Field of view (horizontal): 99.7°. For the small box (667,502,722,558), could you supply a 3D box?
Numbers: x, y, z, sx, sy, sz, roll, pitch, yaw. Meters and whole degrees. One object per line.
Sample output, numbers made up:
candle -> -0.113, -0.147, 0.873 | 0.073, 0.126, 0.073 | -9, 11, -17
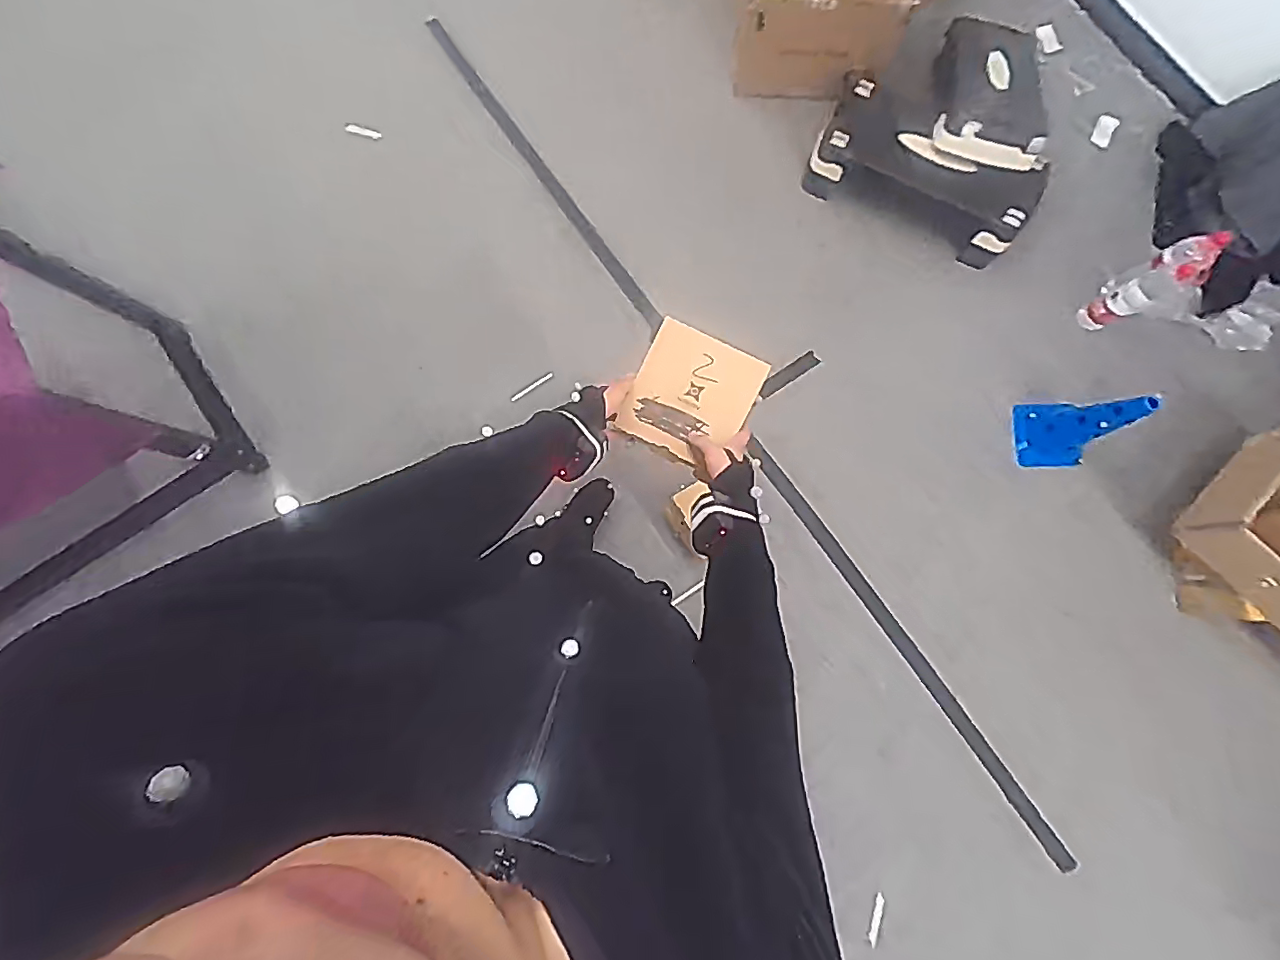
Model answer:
small box -> 0.194, 0.108, 1.568 | 0.168, 0.176, 0.179 | -35, 83, -4

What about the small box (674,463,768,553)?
small box -> 0.201, 0.075, 1.408 | 0.179, 0.176, 0.168 | -30, 83, -3
